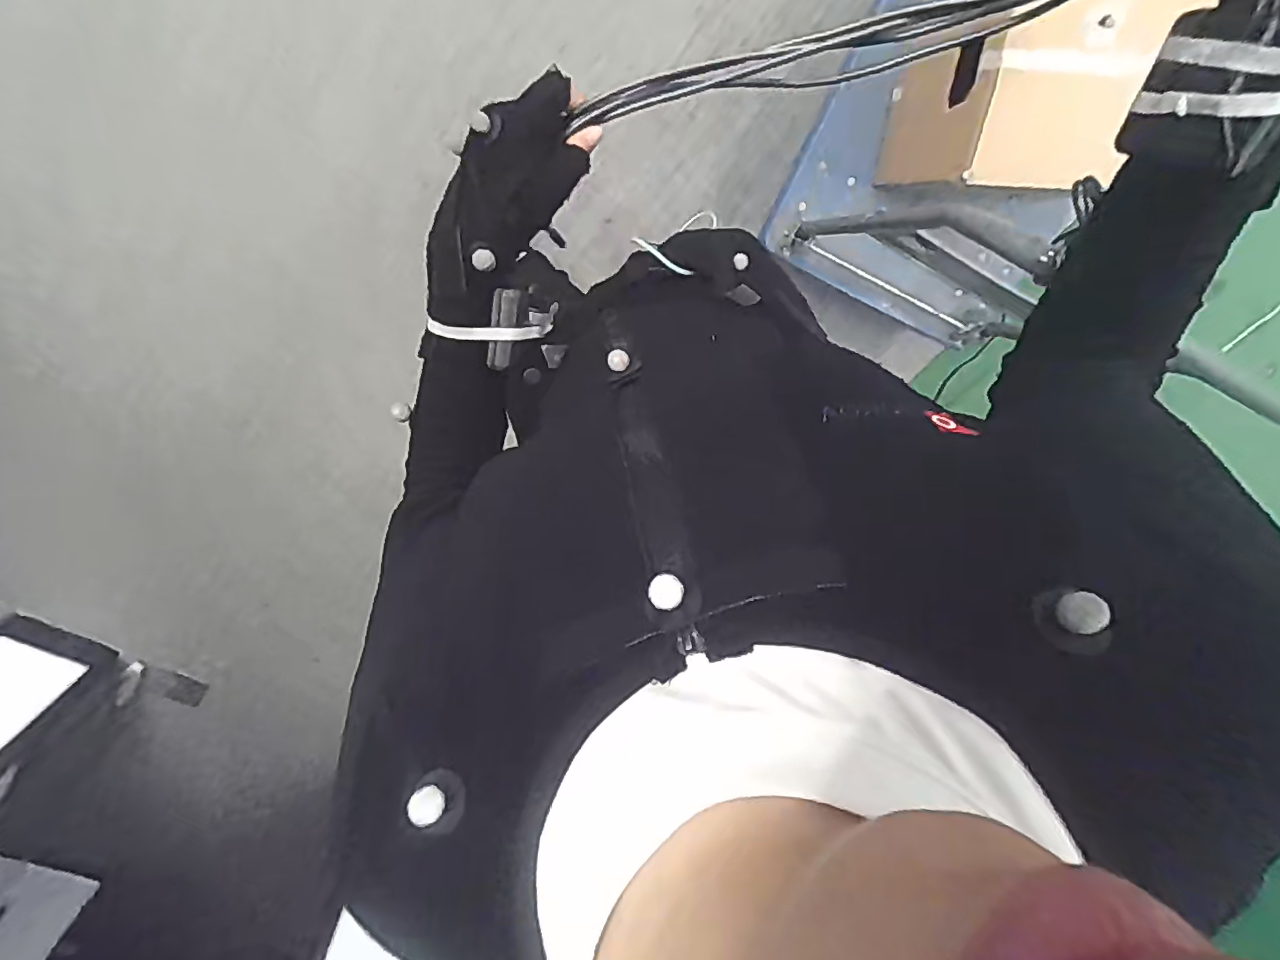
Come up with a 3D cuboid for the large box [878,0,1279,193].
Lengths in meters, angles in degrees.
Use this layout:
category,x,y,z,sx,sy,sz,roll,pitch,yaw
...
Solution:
category,x,y,z,sx,sy,sz,roll,pitch,yaw
large box,0.697,-0.673,0.921,0.408,0.320,0.320,1,117,-4
